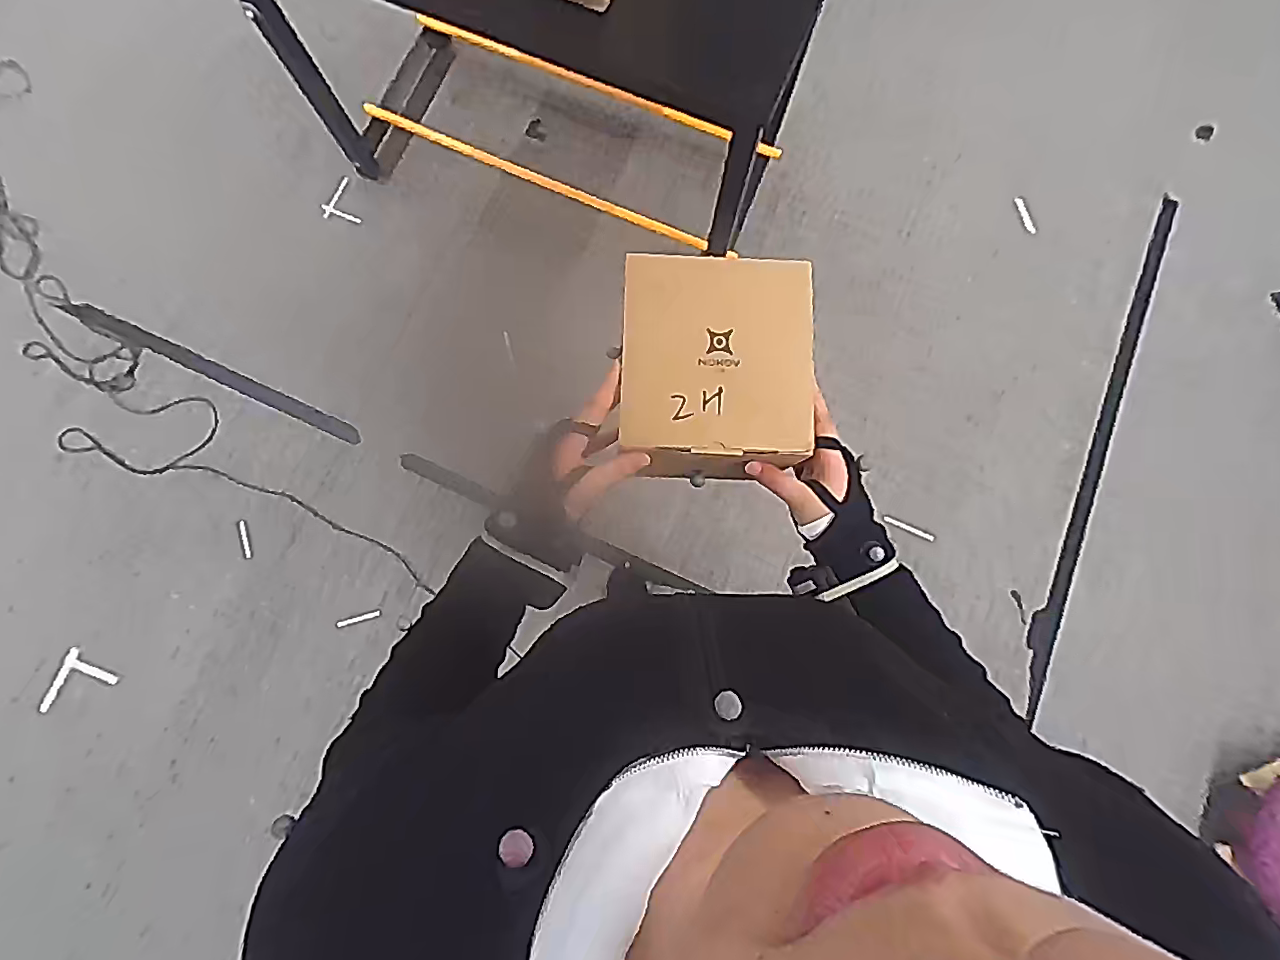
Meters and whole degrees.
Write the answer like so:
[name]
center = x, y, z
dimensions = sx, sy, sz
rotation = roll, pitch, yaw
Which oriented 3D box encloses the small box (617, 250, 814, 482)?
[small box]
center = 0.063, -0.099, 0.534
dimensions = 0.168, 0.176, 0.179
rotation = 1, 82, -1
